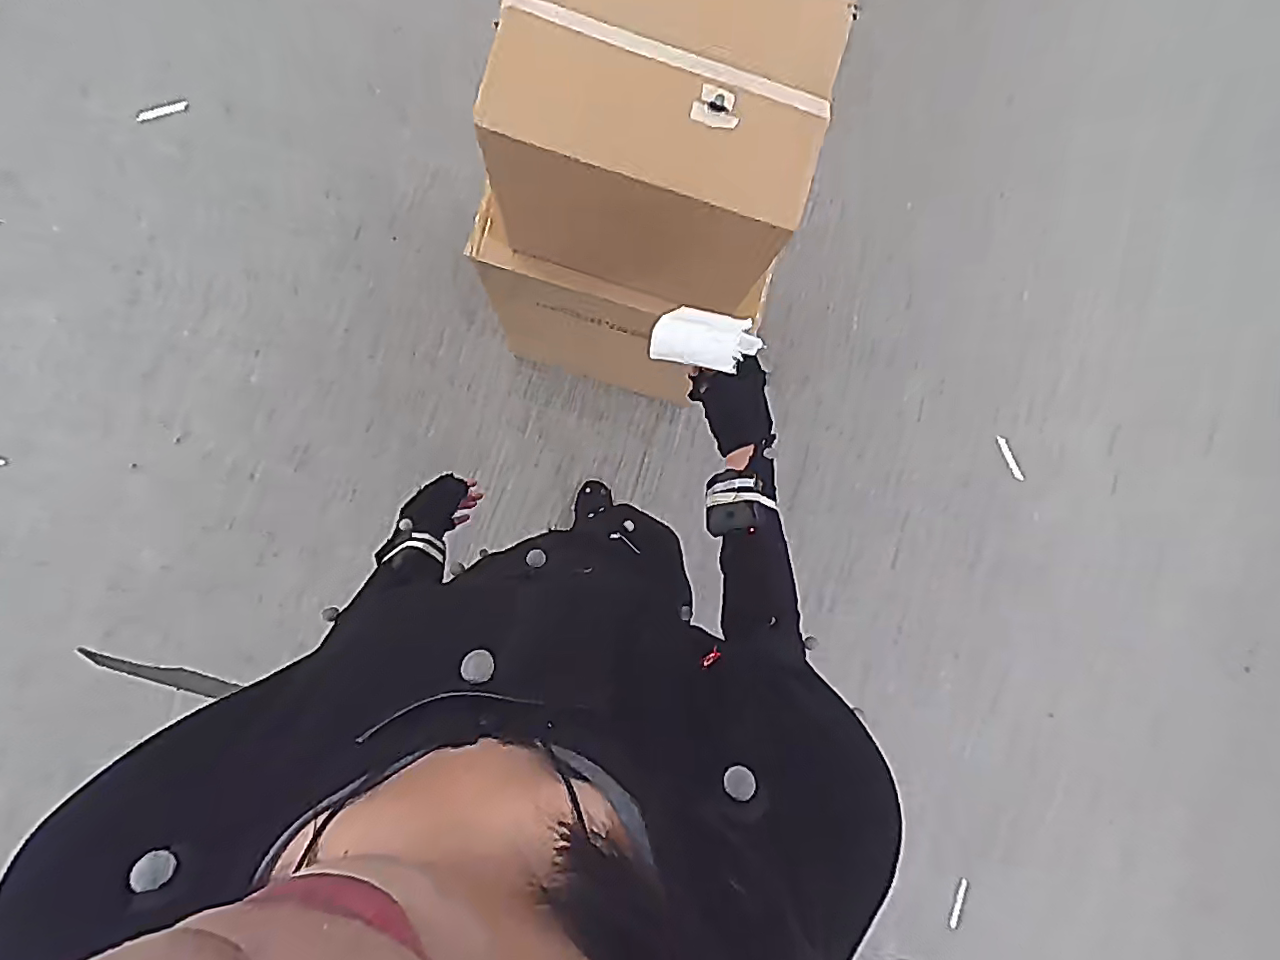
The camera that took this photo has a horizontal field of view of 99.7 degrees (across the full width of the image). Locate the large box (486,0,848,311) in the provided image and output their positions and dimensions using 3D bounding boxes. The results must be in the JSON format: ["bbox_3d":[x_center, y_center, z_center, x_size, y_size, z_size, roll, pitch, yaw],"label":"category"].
[{"bbox_3d":[0.024,-0.503,0.814,0.408,0.320,0.320,16,86,-6],"label":"large box"}]
